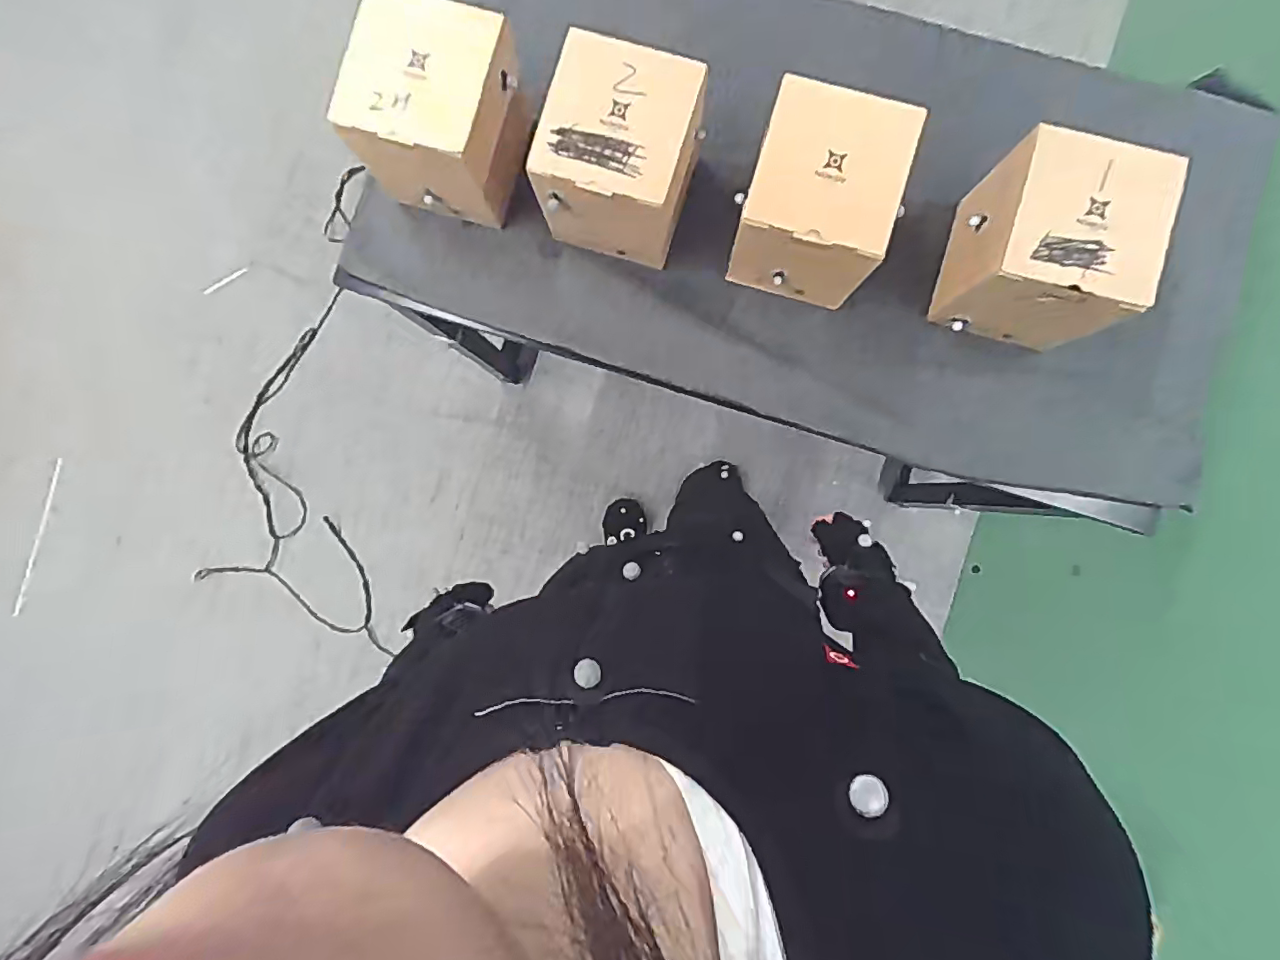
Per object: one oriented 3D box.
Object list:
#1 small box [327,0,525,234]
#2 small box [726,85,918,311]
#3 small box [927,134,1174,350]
[{"bbox_3d":[-0.258,-0.458,0.700,0.168,0.176,0.179,15,88,1],"label":"small box"},{"bbox_3d":[0.216,-0.342,0.690,0.168,0.176,0.179,16,89,2],"label":"small box"},{"bbox_3d":[0.491,-0.280,0.677,0.168,0.176,0.179,16,88,2],"label":"small box"}]
